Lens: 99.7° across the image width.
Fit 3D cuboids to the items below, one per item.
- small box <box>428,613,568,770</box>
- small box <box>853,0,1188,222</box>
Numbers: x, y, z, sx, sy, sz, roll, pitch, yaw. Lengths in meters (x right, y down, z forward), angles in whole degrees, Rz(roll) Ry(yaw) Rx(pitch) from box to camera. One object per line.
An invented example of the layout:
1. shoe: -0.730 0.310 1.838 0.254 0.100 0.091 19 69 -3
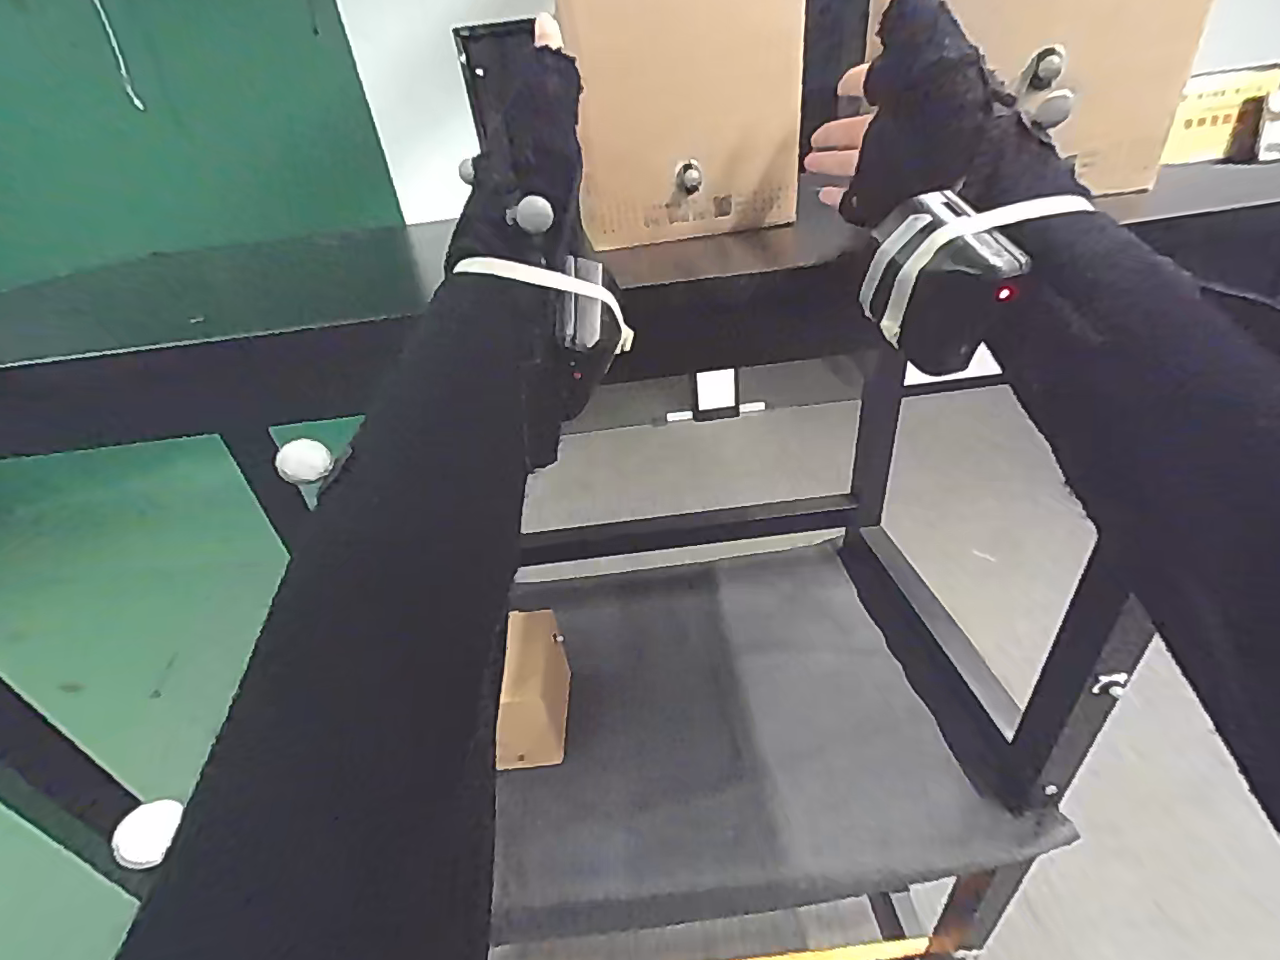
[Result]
1. small box: -0.215 0.344 0.875 0.168 0.176 0.179 -6 31 1
2. small box: 0.272 -0.305 0.421 0.168 0.176 0.179 -1 32 10
